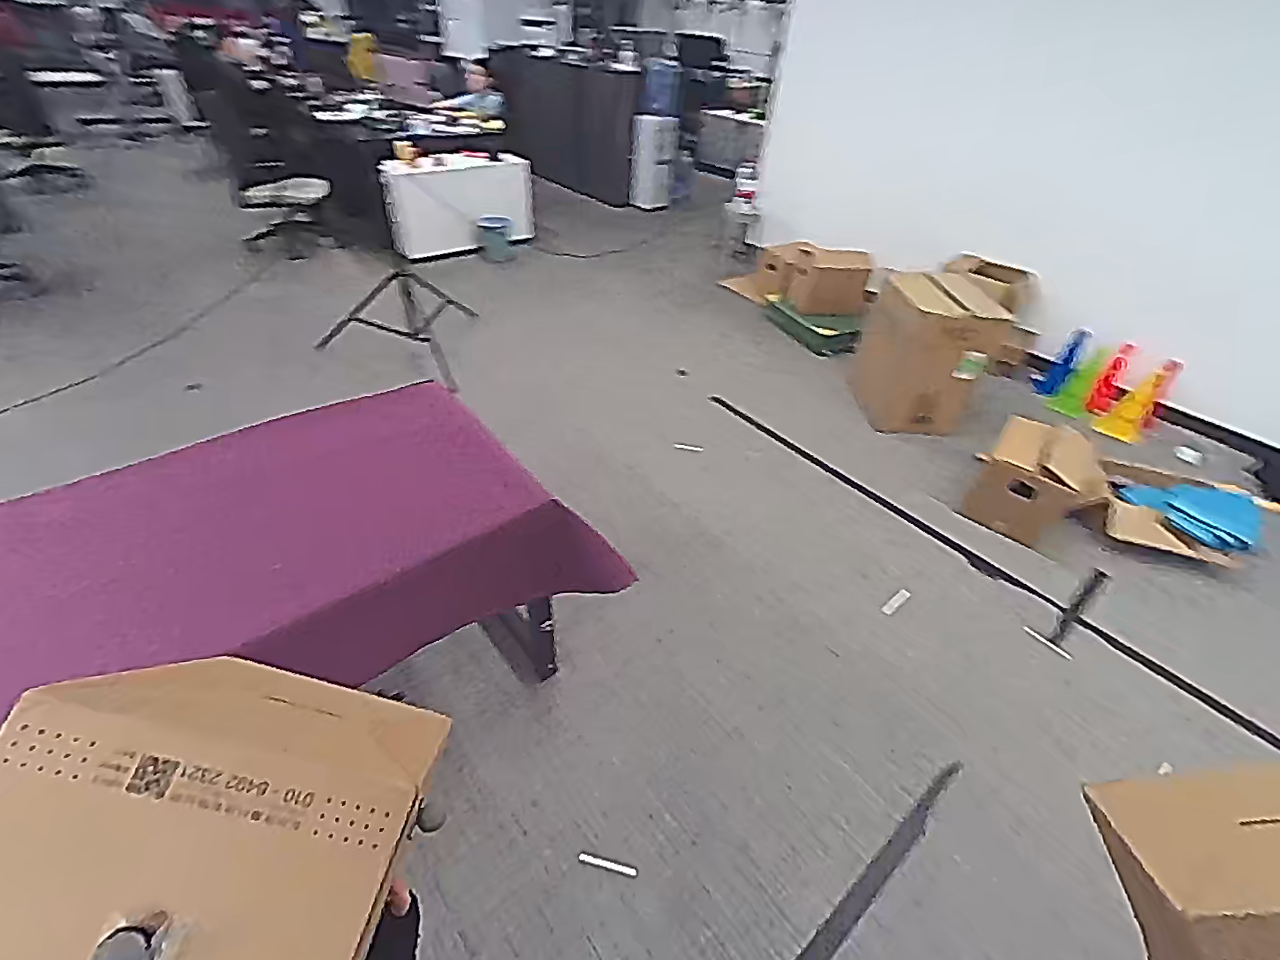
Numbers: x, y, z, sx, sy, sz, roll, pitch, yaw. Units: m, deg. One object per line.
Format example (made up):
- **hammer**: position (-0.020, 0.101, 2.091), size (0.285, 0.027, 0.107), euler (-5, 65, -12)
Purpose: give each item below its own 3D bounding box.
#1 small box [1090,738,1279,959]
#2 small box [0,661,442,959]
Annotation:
- **small box**: position (0.364, 0.237, 0.259), size (0.168, 0.179, 0.176), euler (-21, 74, 22)
- **small box**: position (-0.218, 0.199, 0.278), size (0.168, 0.179, 0.176), euler (19, 72, -9)
